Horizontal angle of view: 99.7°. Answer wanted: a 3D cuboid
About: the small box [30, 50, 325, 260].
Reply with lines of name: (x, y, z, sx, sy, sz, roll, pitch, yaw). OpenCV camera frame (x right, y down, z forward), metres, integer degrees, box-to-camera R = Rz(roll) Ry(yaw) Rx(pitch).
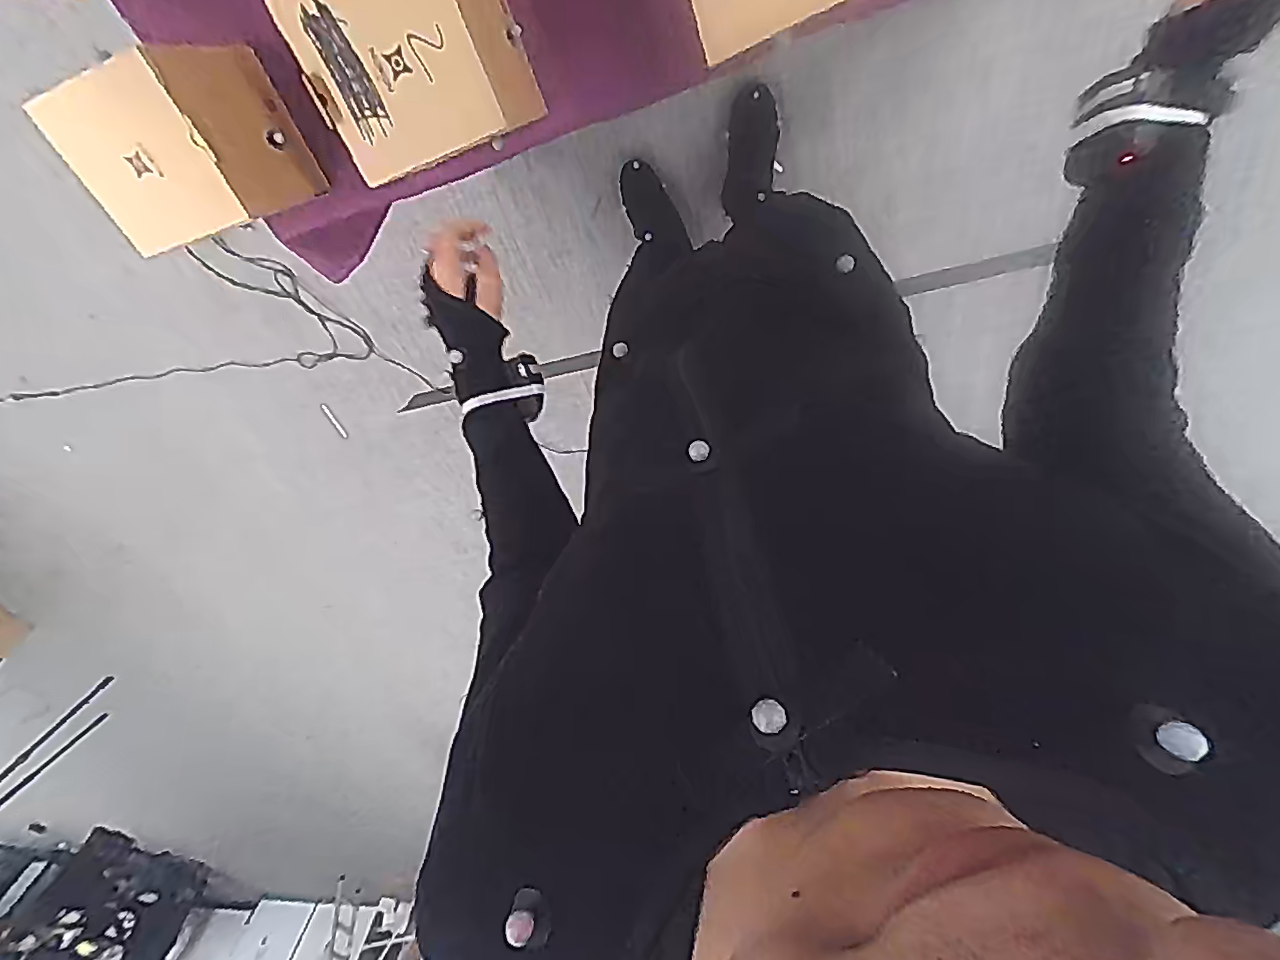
small box: (-0.540, -0.394, 0.662, 0.179, 0.176, 0.168, -11, 126, 15)

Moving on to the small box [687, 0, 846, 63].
small box: (0.111, -0.505, 0.477, 0.168, 0.176, 0.179, -14, 126, 19)
